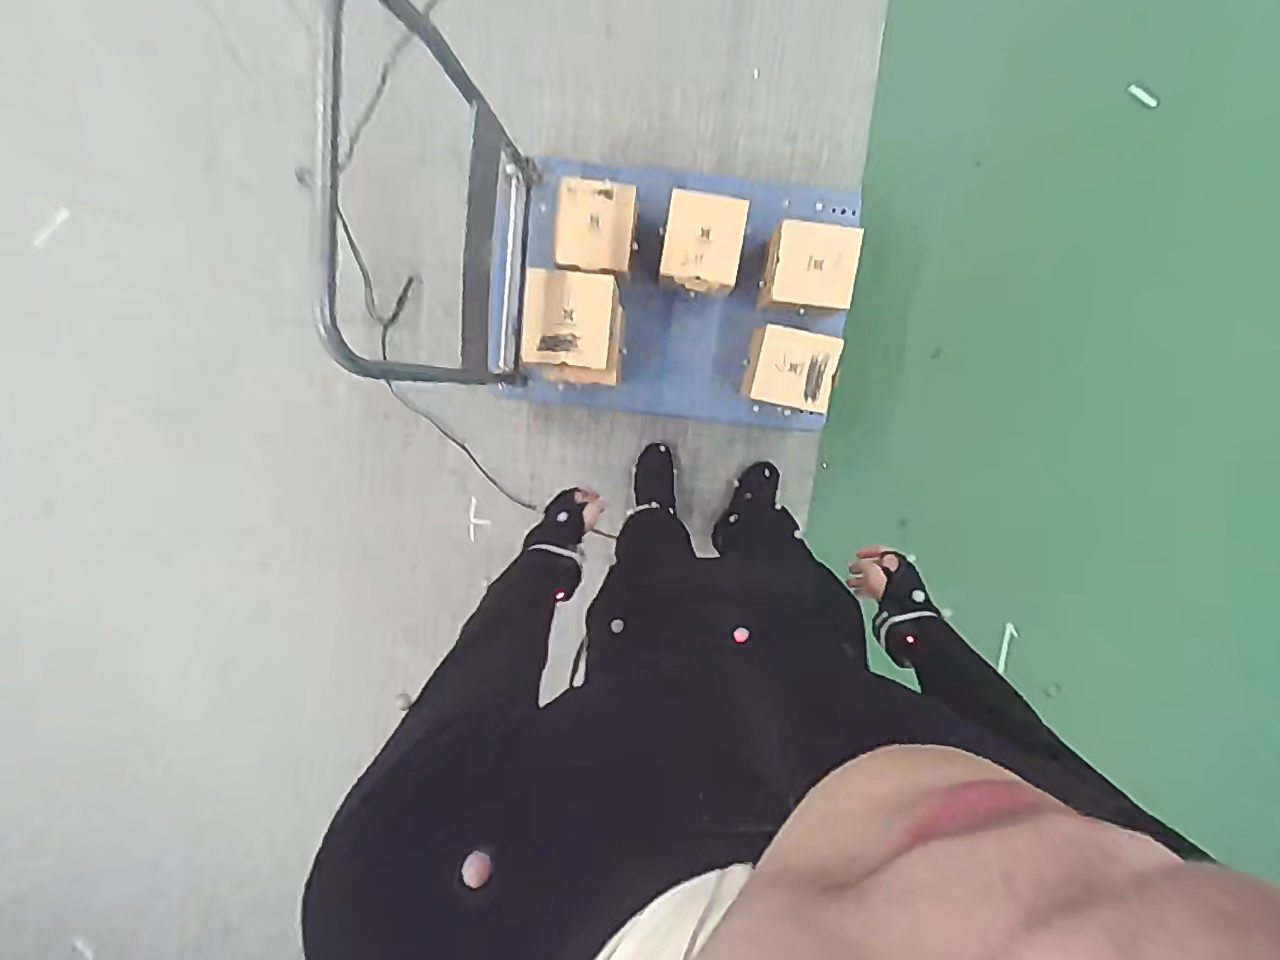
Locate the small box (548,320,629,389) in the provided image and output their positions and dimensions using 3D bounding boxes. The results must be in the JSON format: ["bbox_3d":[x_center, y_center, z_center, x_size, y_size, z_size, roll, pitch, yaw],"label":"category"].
[{"bbox_3d":[-0.144,-0.326,1.269,0.179,0.176,0.168,37,99,-4],"label":"small box"}]

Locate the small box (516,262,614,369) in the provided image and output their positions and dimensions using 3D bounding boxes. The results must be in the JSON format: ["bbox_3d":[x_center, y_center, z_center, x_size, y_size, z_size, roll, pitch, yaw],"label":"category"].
[{"bbox_3d":[-0.145,-0.323,1.095,0.168,0.176,0.179,6,98,-1],"label":"small box"}]

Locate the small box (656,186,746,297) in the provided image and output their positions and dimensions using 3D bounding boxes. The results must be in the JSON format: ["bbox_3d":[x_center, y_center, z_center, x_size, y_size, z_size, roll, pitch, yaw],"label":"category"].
[{"bbox_3d":[0.130,-0.530,1.224,0.168,0.176,0.179,10,99,0],"label":"small box"}]

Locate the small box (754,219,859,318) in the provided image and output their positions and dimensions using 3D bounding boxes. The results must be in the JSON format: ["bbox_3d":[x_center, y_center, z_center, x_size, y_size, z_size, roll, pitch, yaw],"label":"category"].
[{"bbox_3d":[0.368,-0.472,1.230,0.179,0.176,0.168,8,100,0],"label":"small box"}]
